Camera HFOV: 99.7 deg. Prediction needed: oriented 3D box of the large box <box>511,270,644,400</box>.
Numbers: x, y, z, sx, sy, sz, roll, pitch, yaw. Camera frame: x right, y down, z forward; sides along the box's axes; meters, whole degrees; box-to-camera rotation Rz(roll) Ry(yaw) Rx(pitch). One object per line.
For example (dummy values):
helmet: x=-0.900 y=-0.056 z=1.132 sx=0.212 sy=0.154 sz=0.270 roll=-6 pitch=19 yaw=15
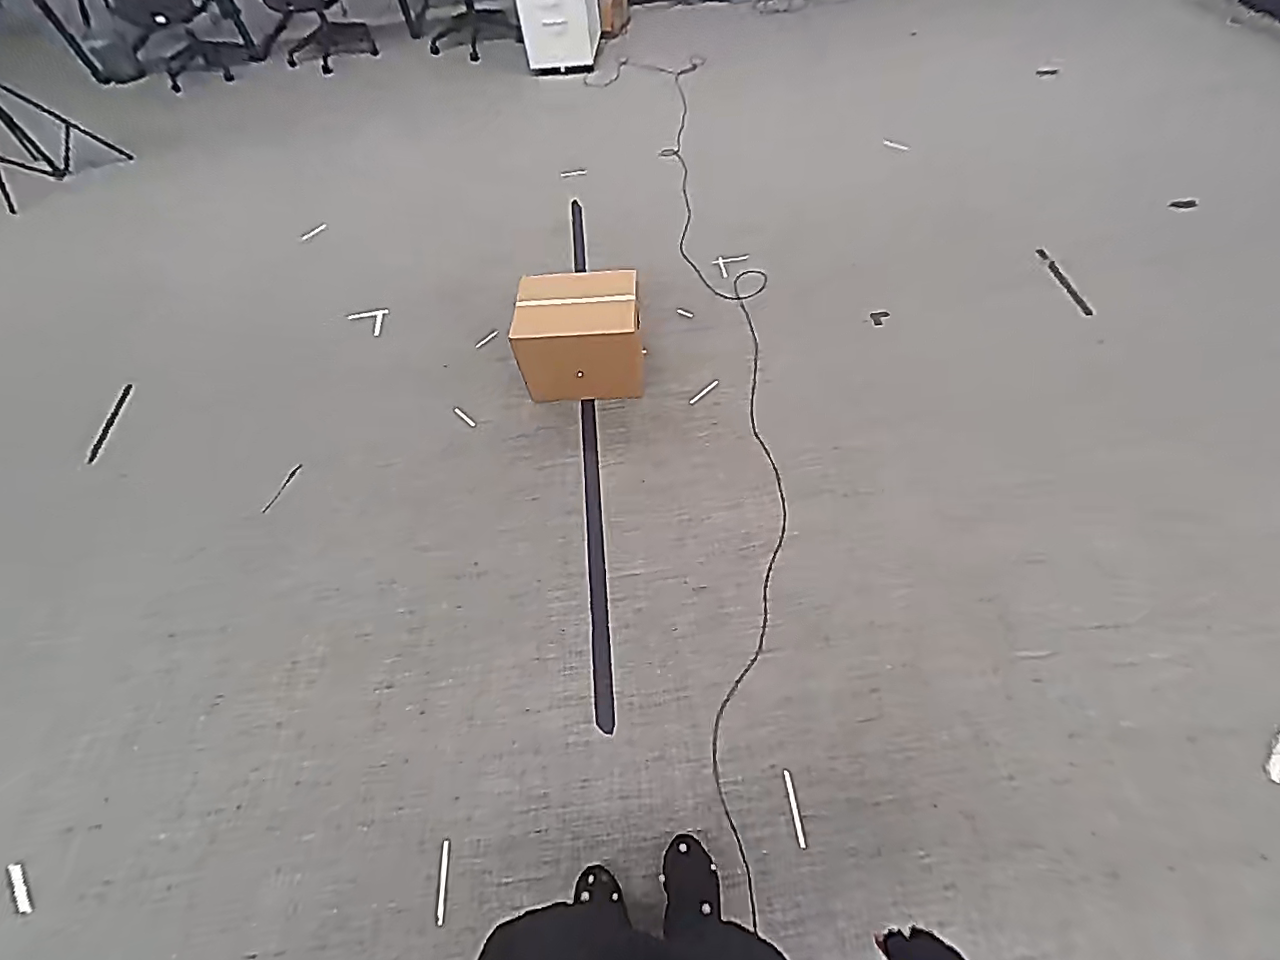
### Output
large box: x=-0.200 y=-0.499 z=1.896 sx=0.408 sy=0.320 sz=0.320 roll=-1 pitch=58 yaw=5
